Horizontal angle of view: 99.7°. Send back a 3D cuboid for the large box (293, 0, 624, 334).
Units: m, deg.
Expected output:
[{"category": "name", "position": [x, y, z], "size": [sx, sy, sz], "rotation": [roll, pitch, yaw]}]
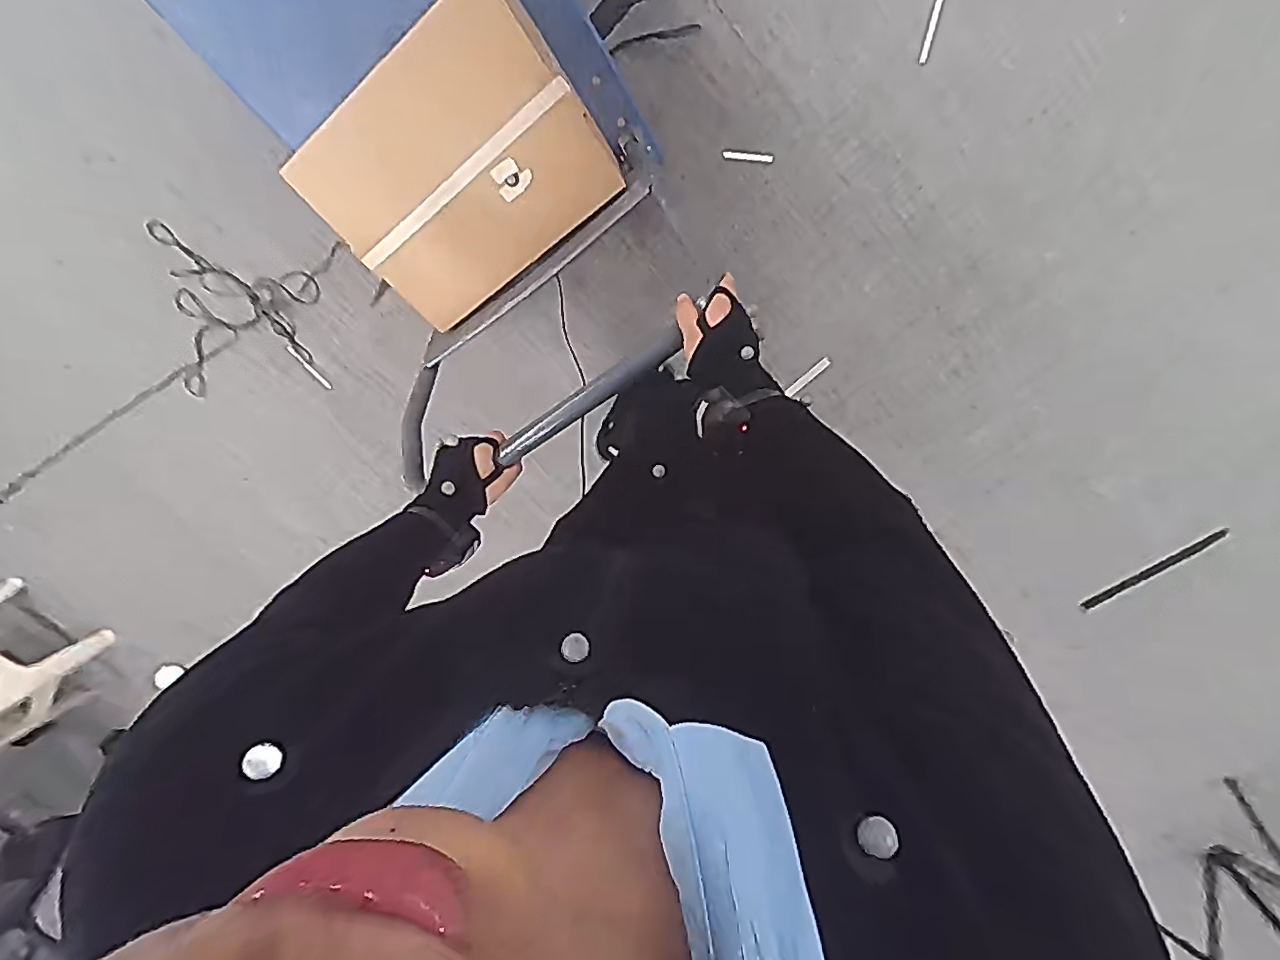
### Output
[{"category": "large box", "position": [-0.285, -0.538, 0.935], "size": [0.408, 0.320, 0.320], "rotation": [-33, 125, 16]}]
